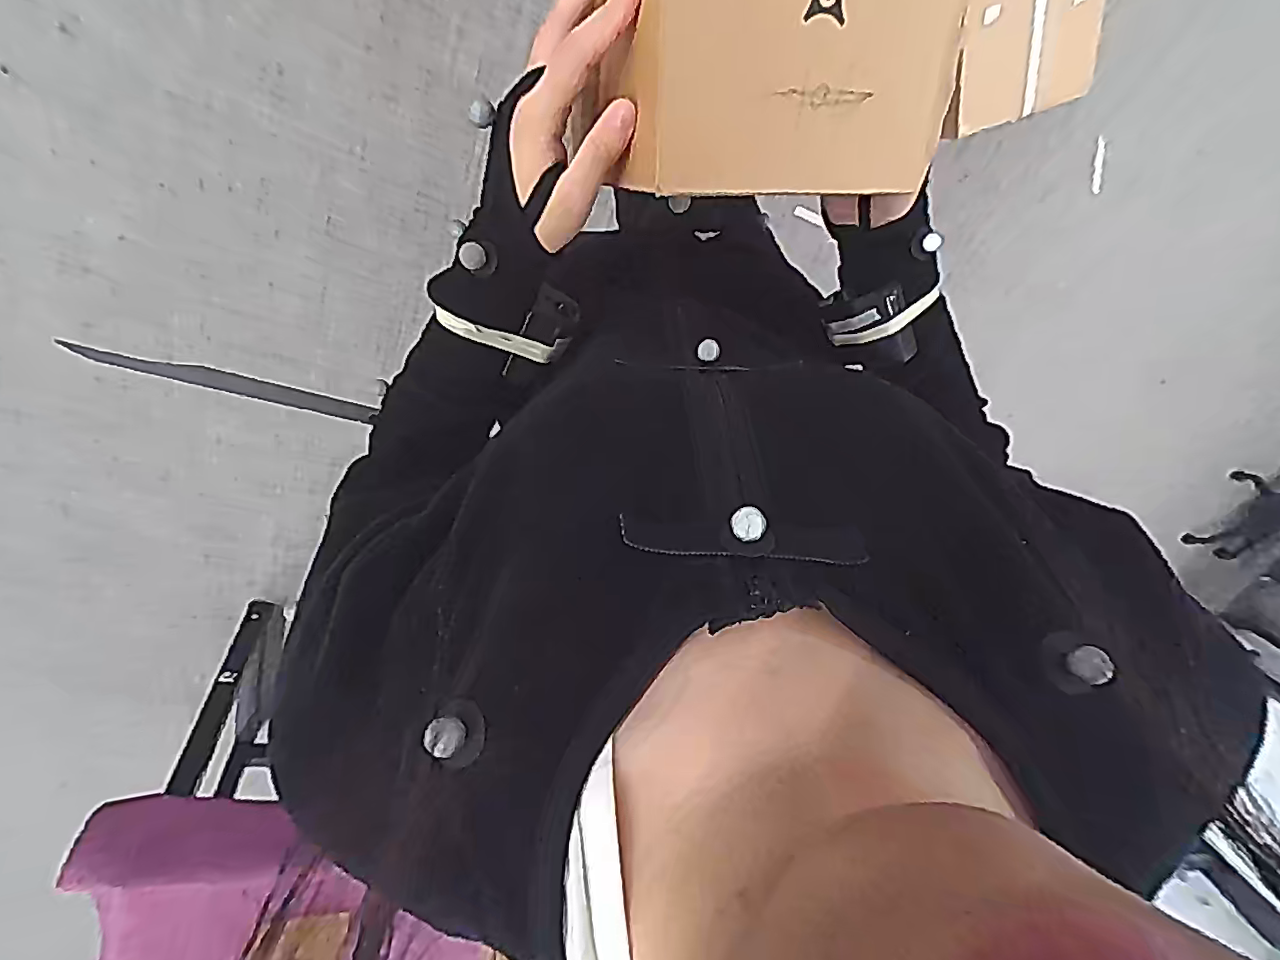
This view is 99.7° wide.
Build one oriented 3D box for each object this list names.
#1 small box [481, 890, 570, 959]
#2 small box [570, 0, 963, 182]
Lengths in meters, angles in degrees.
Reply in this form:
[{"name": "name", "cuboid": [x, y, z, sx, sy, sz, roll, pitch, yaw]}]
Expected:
[{"name": "small box", "cuboid": [-0.287, 1.131, 1.317, 0.168, 0.176, 0.179, 13, 117, -24]}, {"name": "small box", "cuboid": [0.057, -0.273, 0.309, 0.168, 0.176, 0.179, -10, 123, -18]}]
